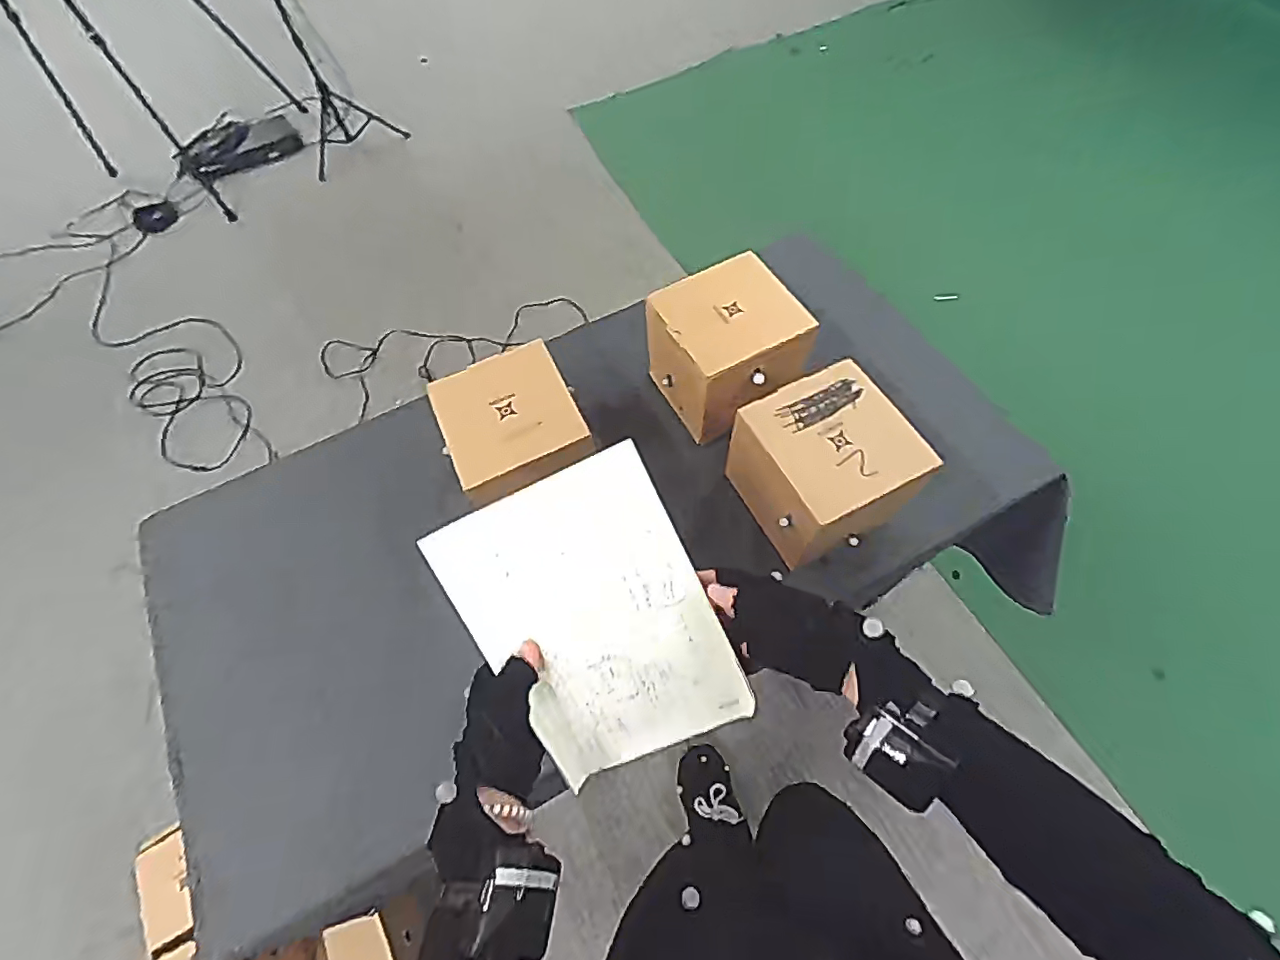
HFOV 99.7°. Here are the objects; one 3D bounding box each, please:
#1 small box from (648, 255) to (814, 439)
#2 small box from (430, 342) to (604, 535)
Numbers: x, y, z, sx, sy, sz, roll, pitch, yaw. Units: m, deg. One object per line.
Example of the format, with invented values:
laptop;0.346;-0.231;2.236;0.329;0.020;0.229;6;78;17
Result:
small box;0.121;-0.191;0.798;0.179;0.176;0.168;-23;63;-11
small box;-0.162;-0.051;0.751;0.168;0.176;0.179;-24;64;-8
